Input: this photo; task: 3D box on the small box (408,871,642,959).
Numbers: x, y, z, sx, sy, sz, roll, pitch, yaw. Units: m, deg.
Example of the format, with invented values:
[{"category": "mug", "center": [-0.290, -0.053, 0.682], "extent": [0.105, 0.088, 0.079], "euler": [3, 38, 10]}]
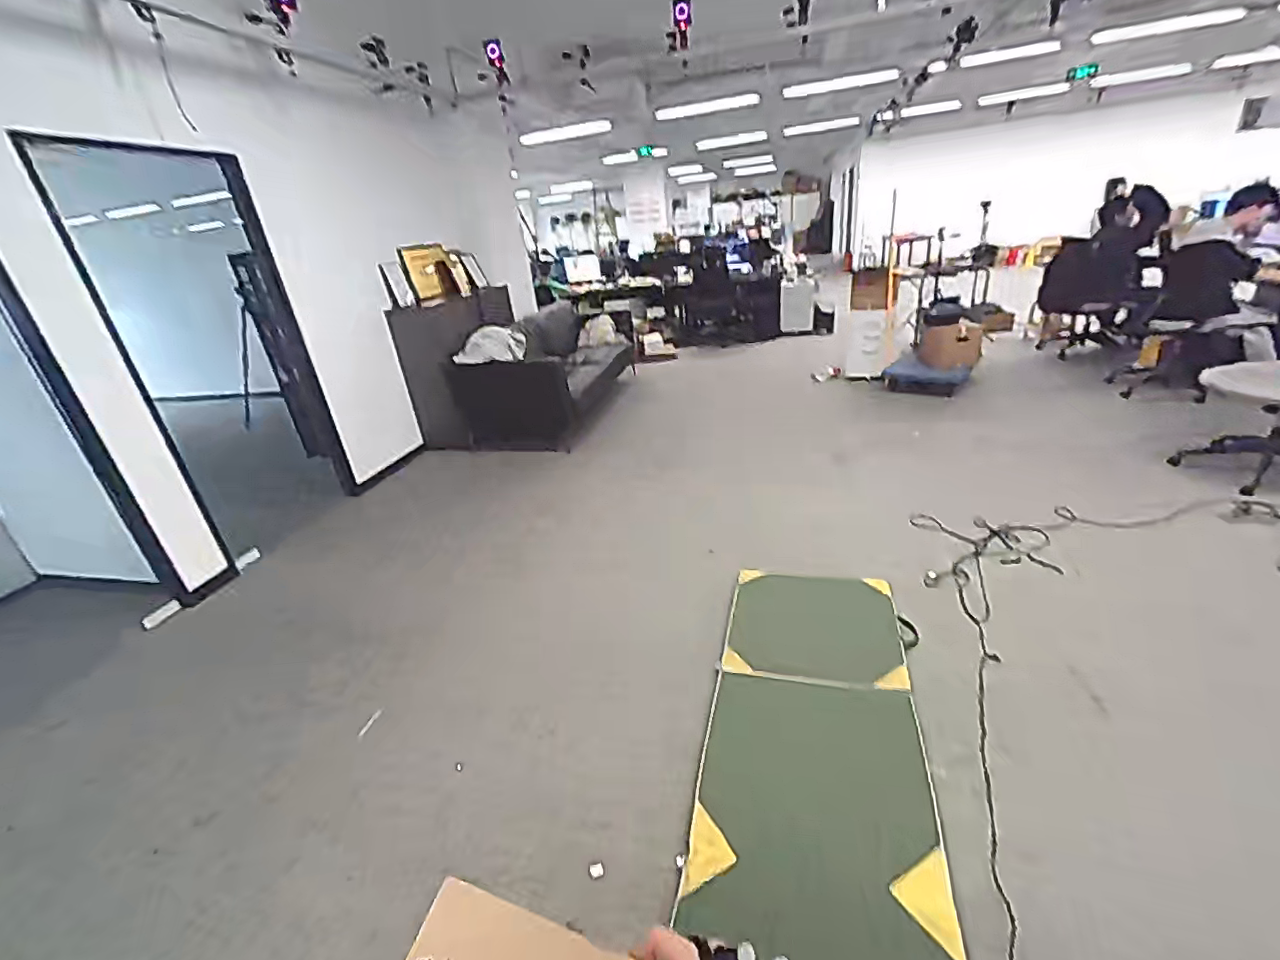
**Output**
[{"category": "small box", "center": [-0.095, 0.420, 0.391], "extent": [0.179, 0.176, 0.168], "euler": [19, 47, 8]}]
